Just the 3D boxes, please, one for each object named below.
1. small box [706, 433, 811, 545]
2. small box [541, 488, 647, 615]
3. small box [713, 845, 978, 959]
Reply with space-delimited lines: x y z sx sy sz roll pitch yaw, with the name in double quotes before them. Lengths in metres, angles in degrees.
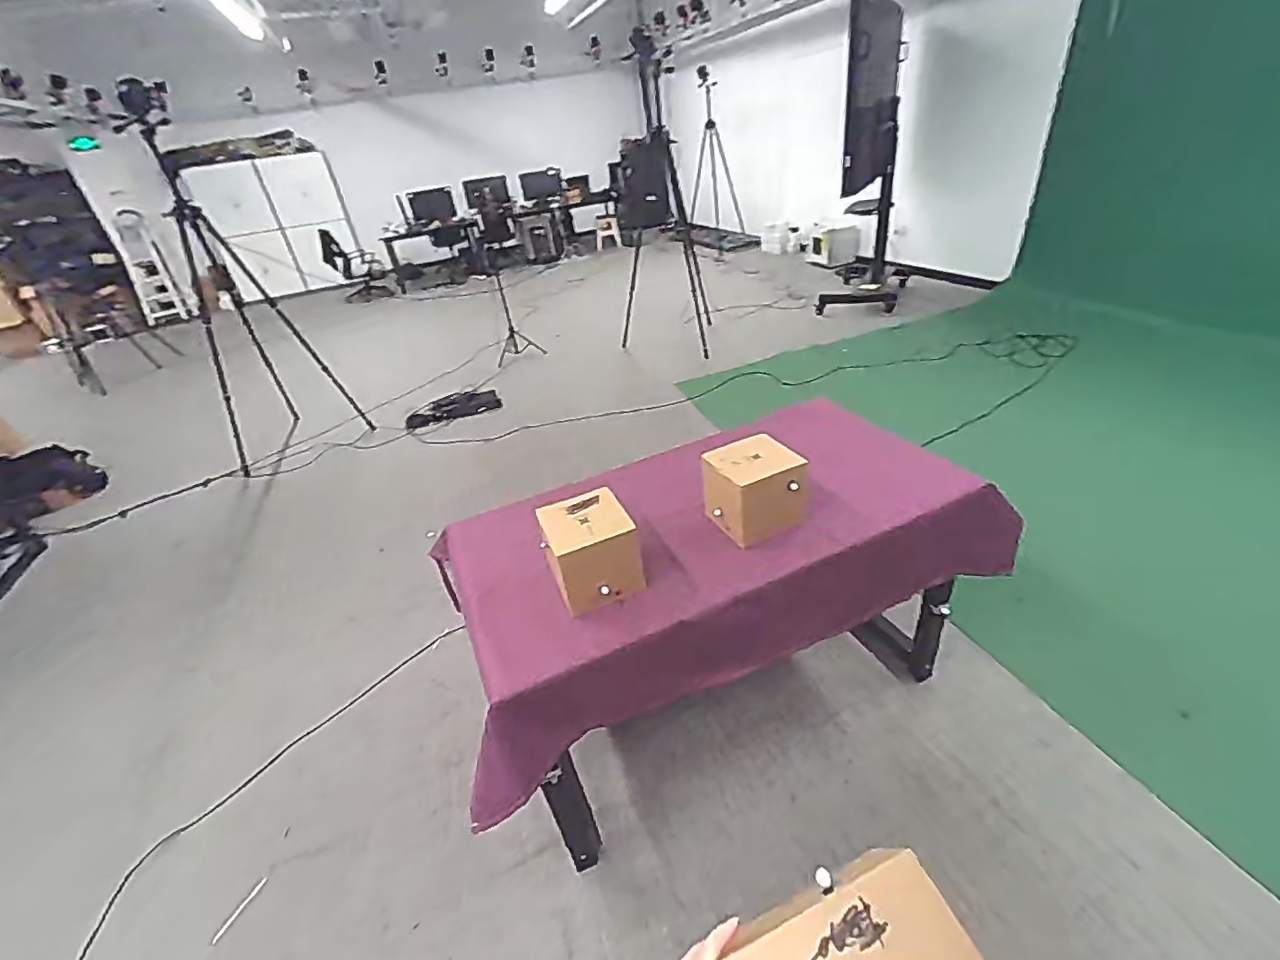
"small box" 0.267 0.020 1.240 0.179 0.176 0.168 -20 34 -16
"small box" -0.096 0.148 1.136 0.168 0.176 0.179 -19 35 -15
"small box" 0.174 0.404 0.403 0.168 0.176 0.179 -28 55 -5
